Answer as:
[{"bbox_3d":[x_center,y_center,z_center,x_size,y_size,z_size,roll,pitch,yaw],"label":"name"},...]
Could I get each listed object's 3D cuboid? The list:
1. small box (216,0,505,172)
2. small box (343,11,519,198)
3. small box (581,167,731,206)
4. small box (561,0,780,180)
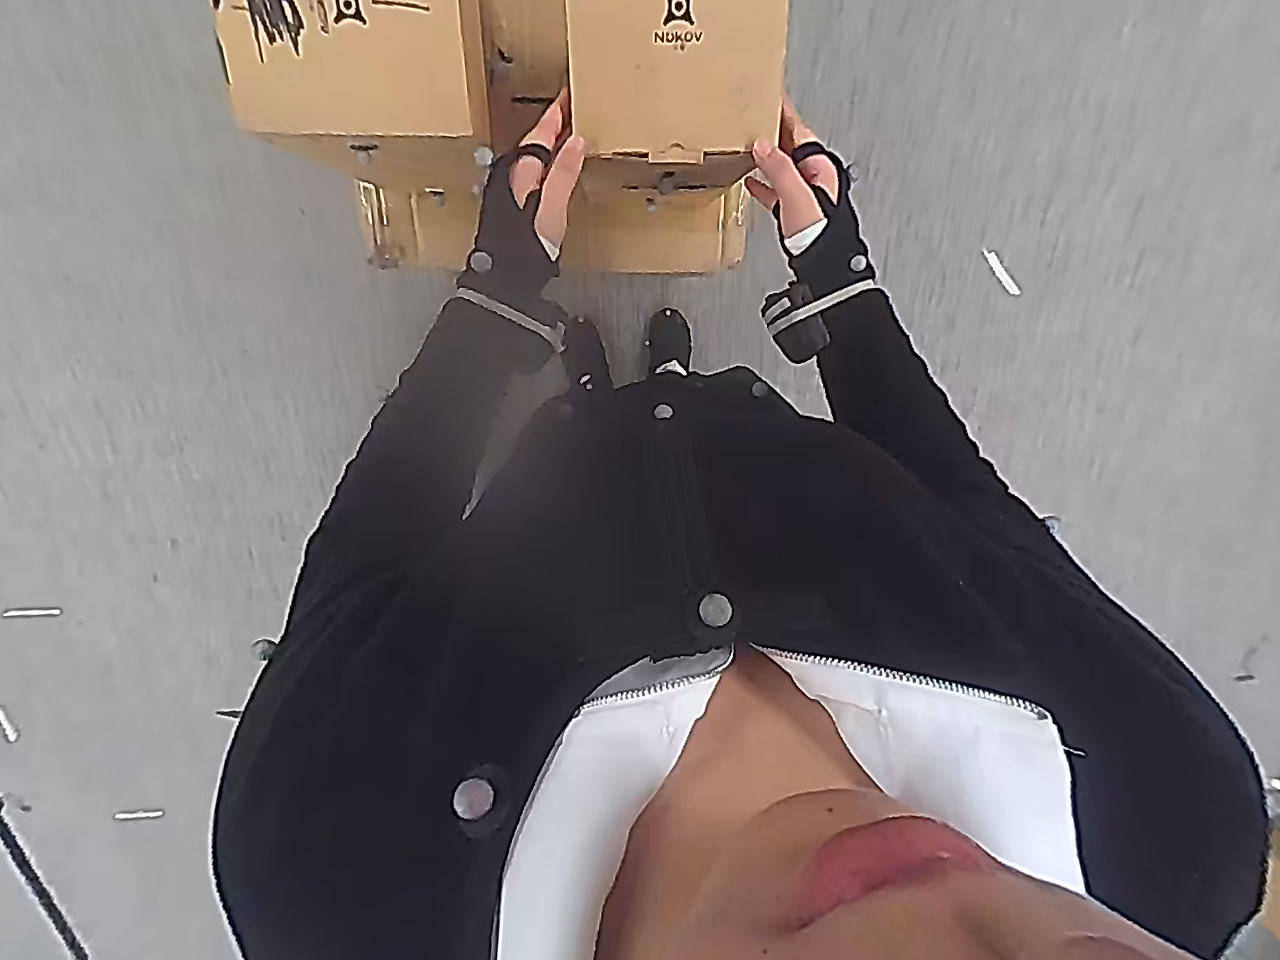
[{"bbox_3d":[-0.223,-0.373,0.466,0.179,0.176,0.168,-2,111,-4],"label":"small box"},{"bbox_3d":[-0.237,-0.433,0.619,0.168,0.176,0.179,-1,112,-3],"label":"small box"},{"bbox_3d":[0.015,-0.430,0.634,0.168,0.176,0.179,0,111,-2],"label":"small box"},{"bbox_3d":[0.022,-0.373,0.481,0.168,0.176,0.179,-2,112,-1],"label":"small box"}]
